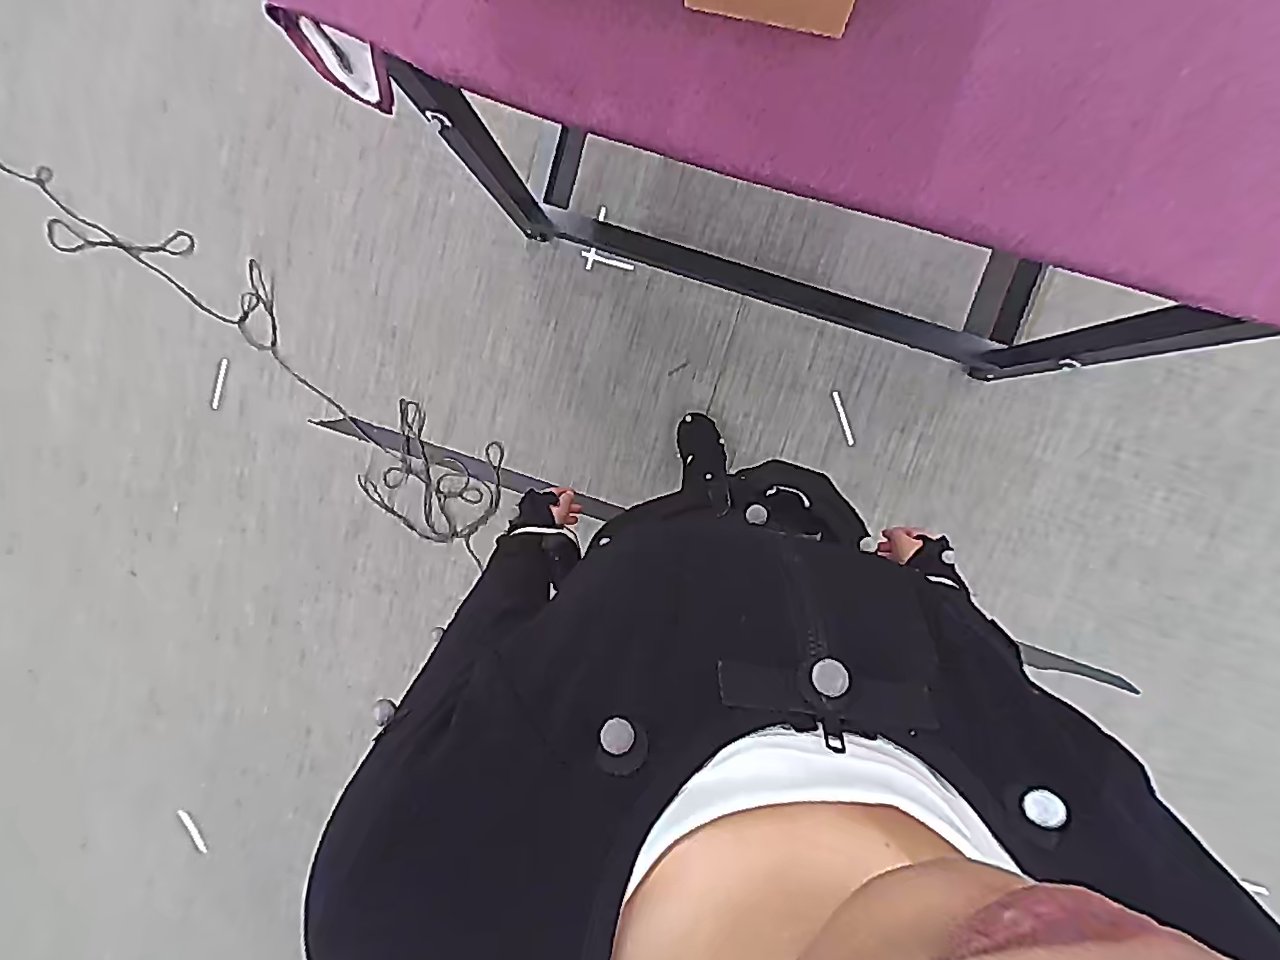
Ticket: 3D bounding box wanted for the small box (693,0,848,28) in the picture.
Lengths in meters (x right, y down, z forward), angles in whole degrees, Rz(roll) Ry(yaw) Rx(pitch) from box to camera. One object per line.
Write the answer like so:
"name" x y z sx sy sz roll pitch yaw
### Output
"small box" 0.145 -0.570 0.498 0.179 0.176 0.168 14 96 3
